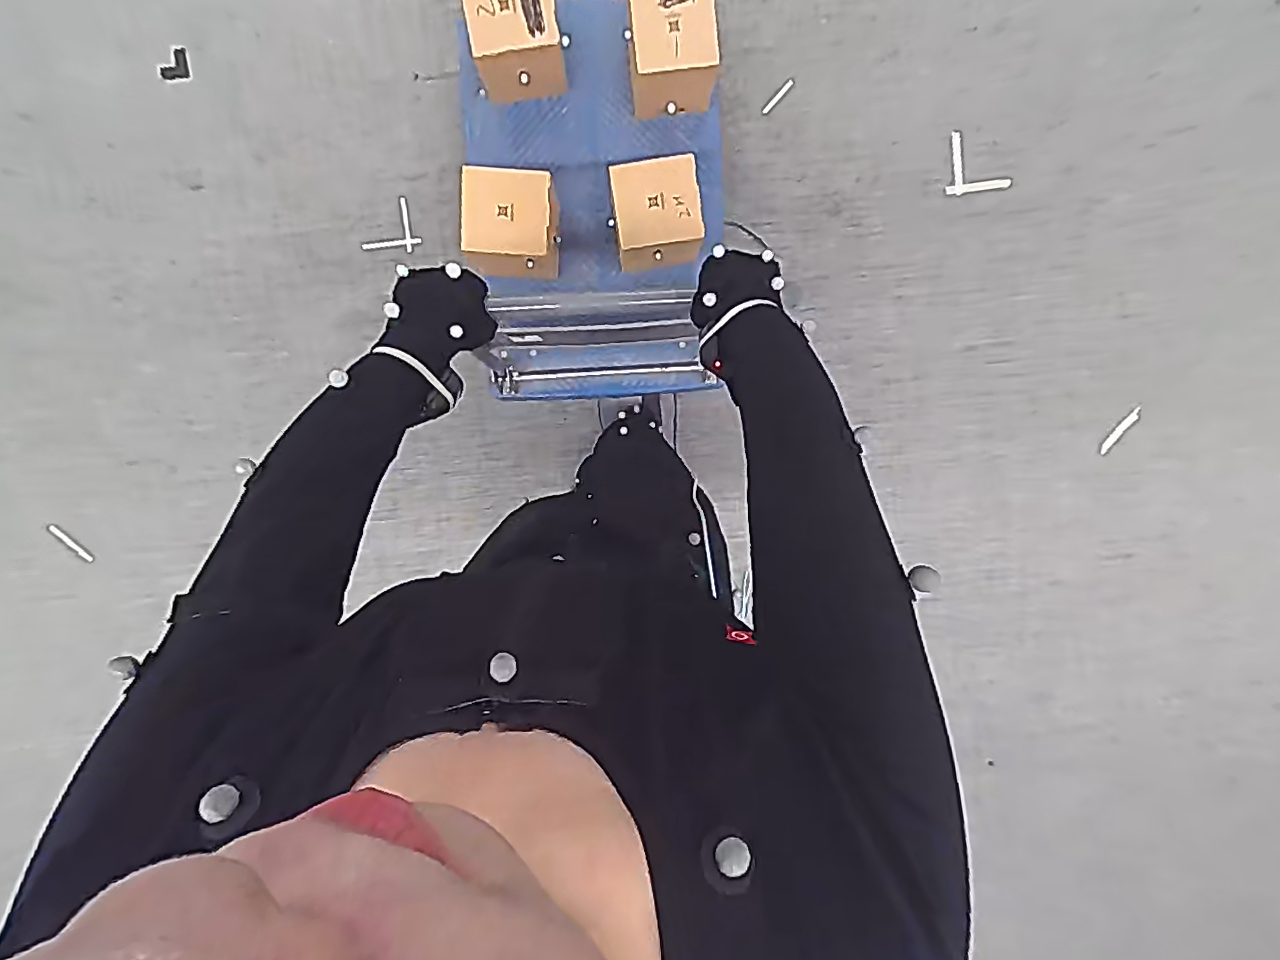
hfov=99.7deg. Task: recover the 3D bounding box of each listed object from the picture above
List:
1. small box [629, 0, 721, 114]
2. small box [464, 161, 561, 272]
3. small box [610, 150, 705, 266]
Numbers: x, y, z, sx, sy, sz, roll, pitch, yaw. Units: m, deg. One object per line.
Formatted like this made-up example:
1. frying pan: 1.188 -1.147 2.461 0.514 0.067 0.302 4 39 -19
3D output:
1. small box: 0.068 -0.914 1.137 0.168 0.176 0.179 -7 97 -1
2. small box: -0.269 -0.559 1.167 0.179 0.176 0.168 2 96 -3
3. small box: 0.036 -0.579 1.172 0.179 0.176 0.168 -9 96 0
